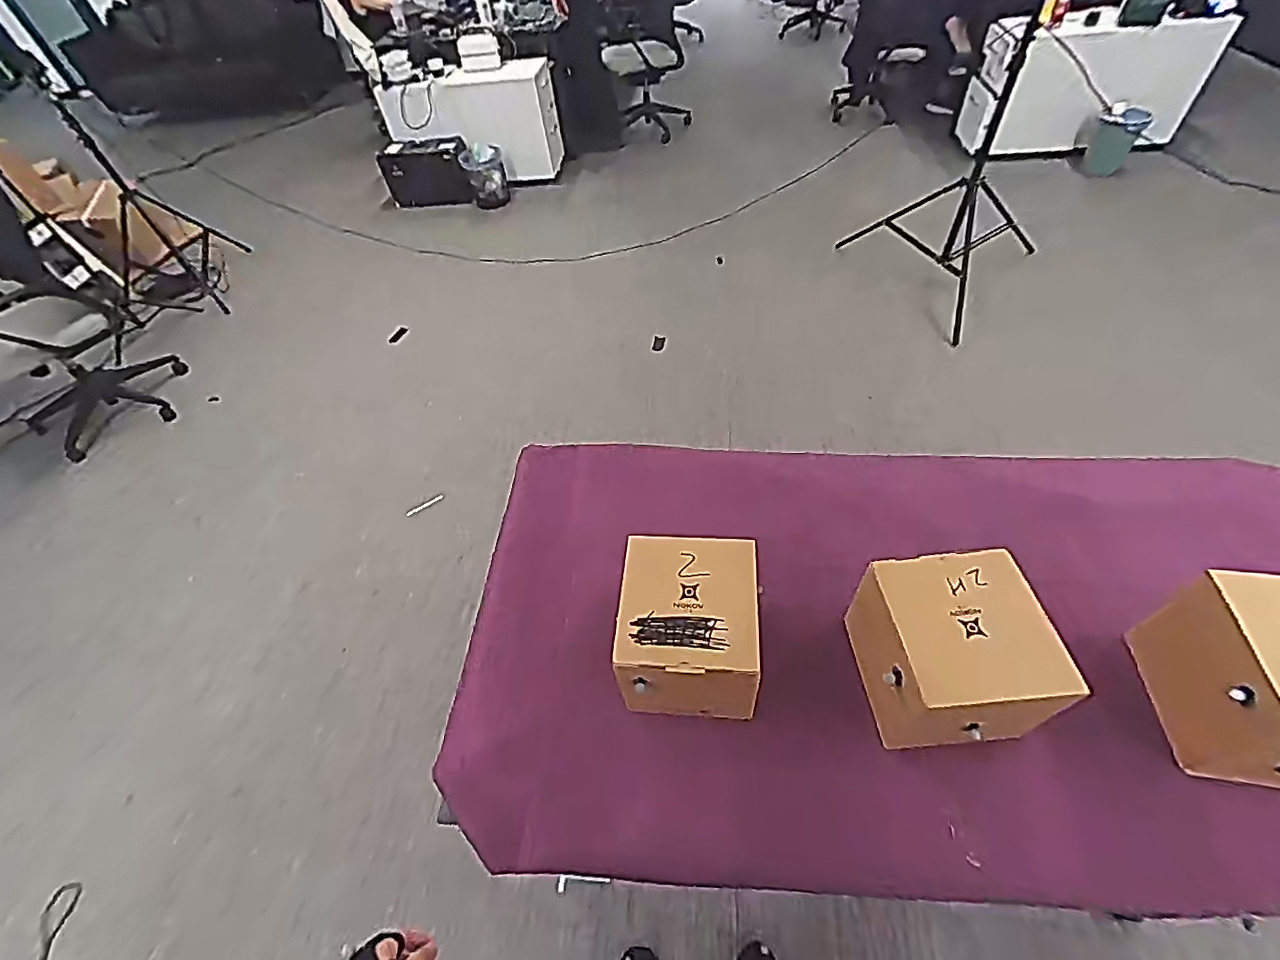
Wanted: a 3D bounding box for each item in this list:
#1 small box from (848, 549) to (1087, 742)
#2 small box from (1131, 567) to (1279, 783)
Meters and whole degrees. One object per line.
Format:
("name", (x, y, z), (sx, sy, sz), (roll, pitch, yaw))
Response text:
("small box", (0.373, 0.208, 0.659), (0.168, 0.176, 0.179), (-6, 50, 2))
("small box", (0.714, 0.222, 0.605), (0.168, 0.176, 0.179), (4, 50, 11))
